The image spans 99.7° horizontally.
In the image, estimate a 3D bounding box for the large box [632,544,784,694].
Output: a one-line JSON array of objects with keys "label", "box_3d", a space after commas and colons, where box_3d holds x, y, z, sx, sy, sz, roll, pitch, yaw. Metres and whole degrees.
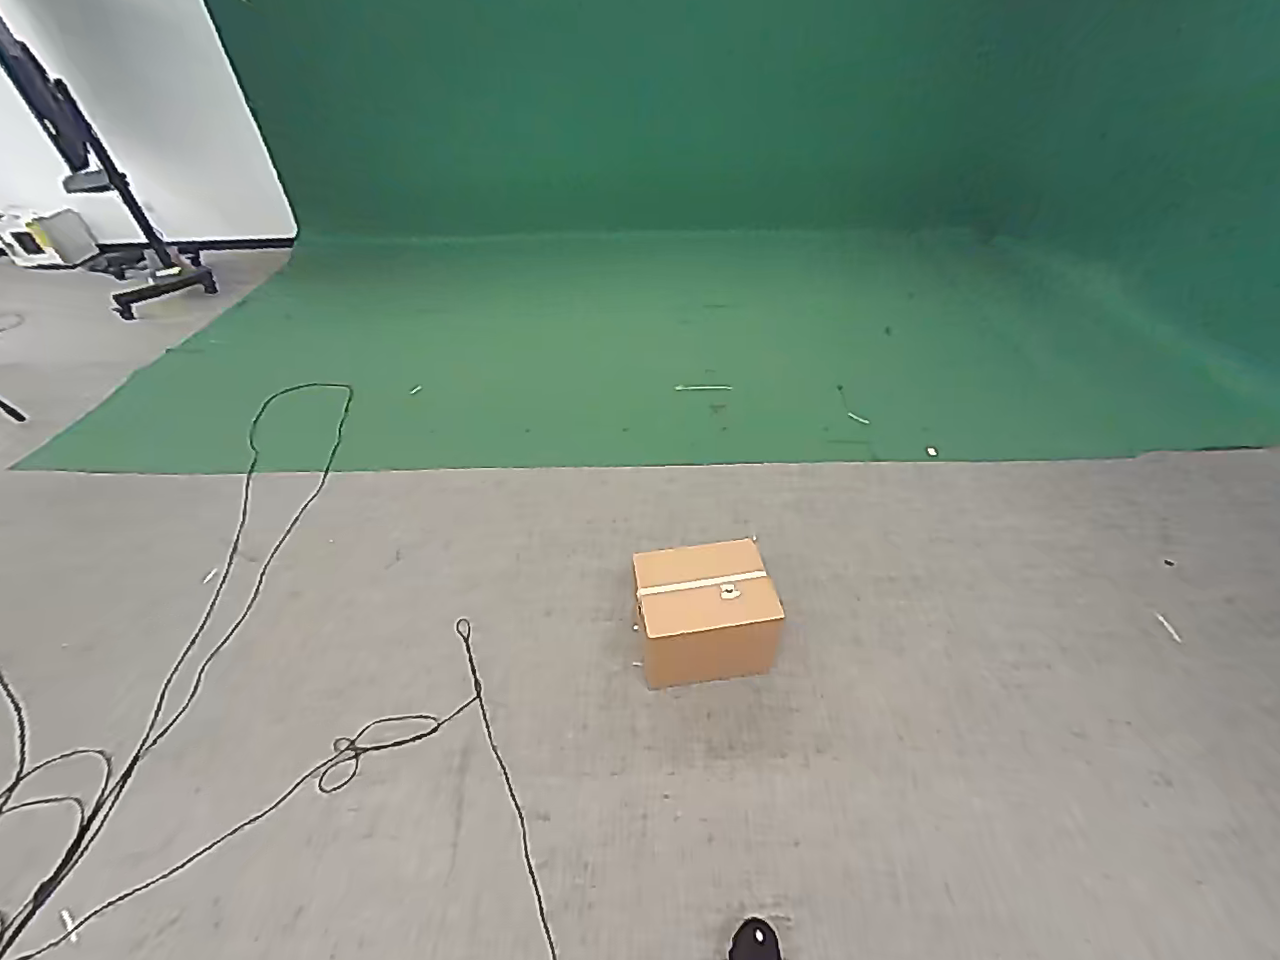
[{"label": "large box", "box_3d": [0.199, 0.446, 1.743, 0.408, 0.320, 0.320, -7, 42, -6]}]
